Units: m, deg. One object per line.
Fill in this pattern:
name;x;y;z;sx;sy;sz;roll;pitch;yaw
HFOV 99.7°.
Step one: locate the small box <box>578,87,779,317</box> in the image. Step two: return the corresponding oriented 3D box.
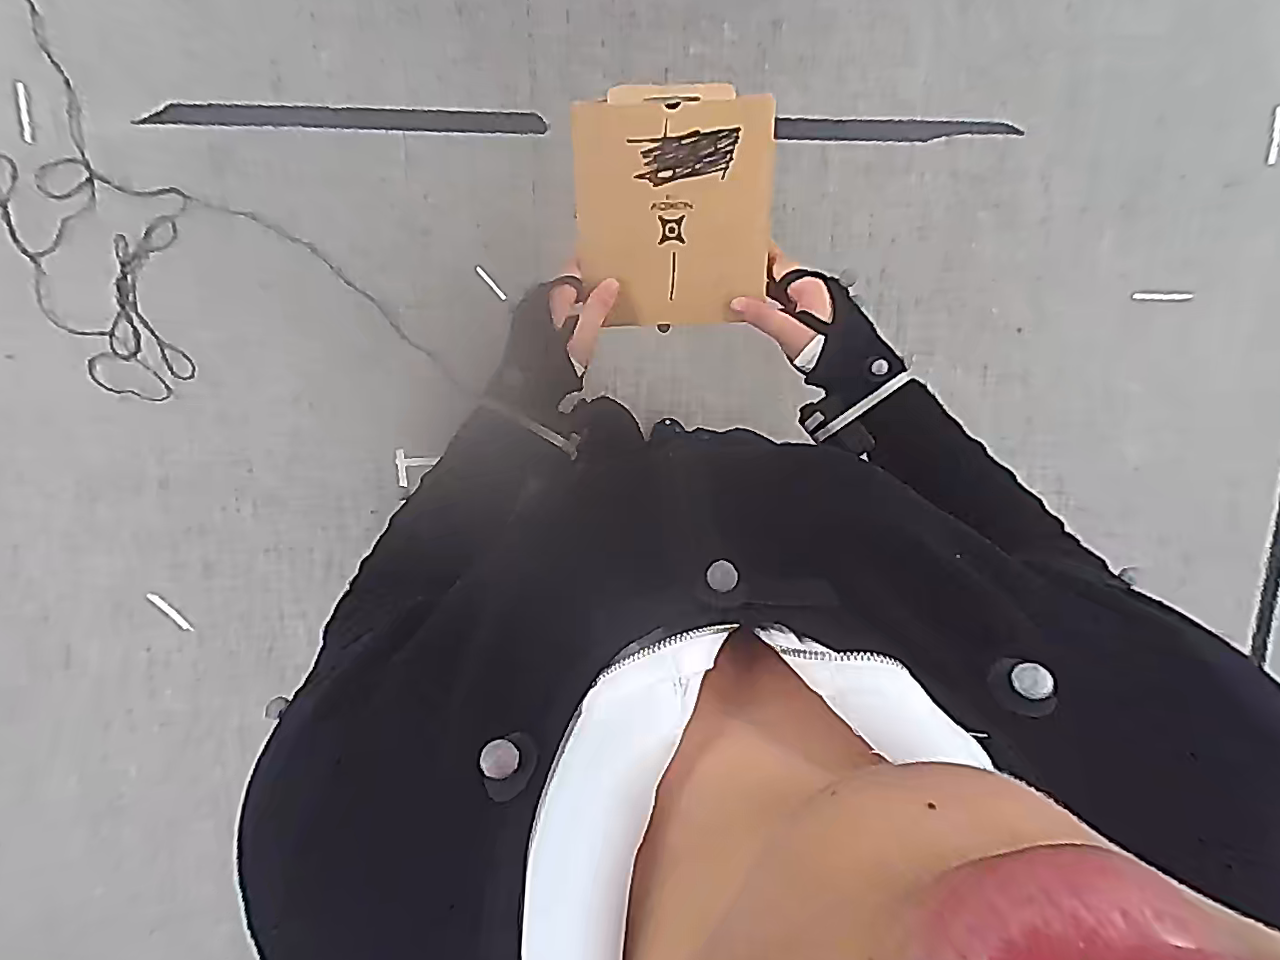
small box;0.032;-0.258;0.535;0.168;0.176;0.179;-1;111;2
